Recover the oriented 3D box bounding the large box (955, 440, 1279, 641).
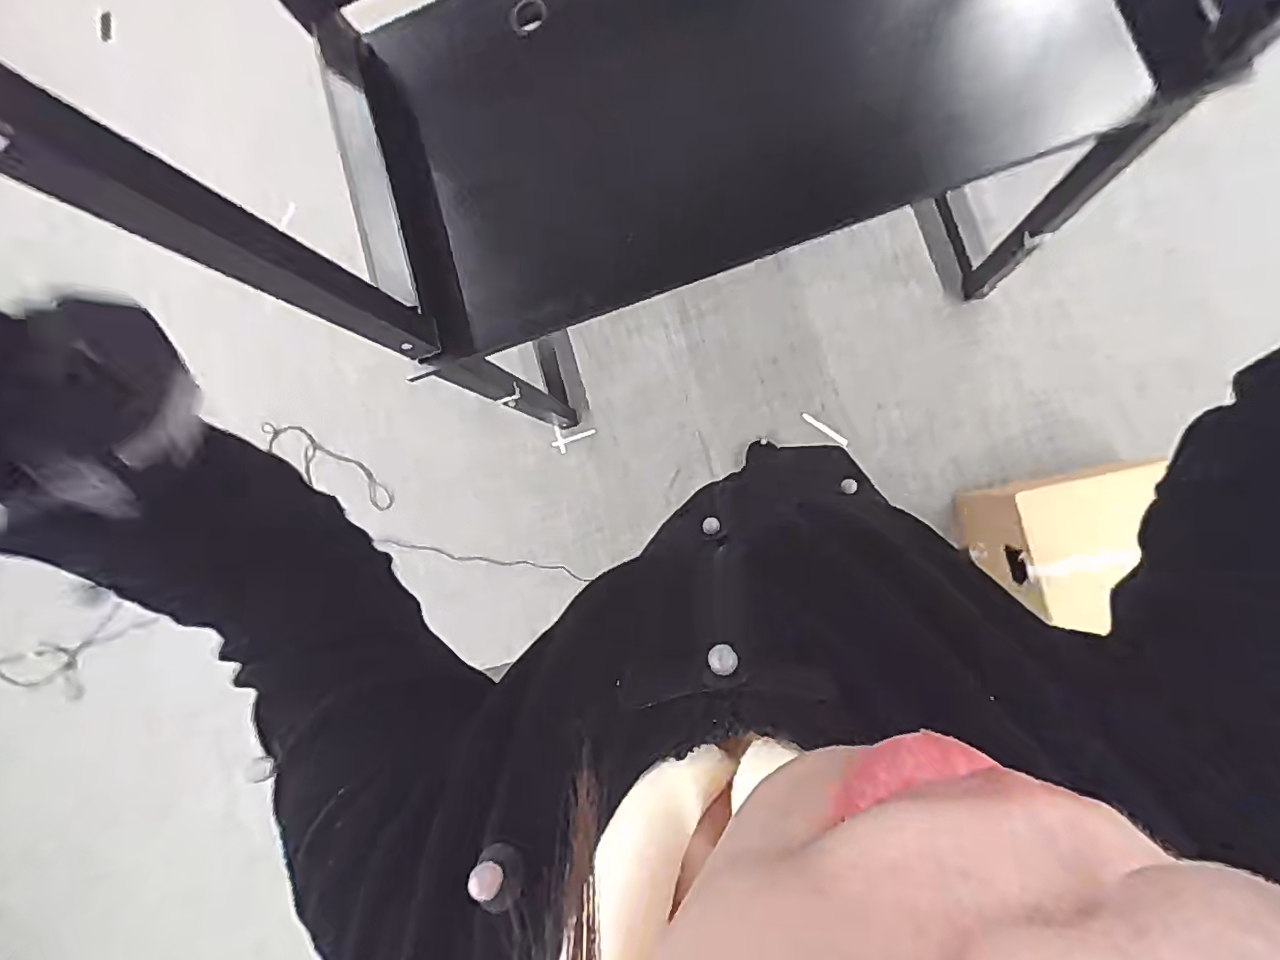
[{"bbox_3d":[0.995,0.128,1.182,0.408,0.320,0.320,-14,86,9],"label":"large box"}]
